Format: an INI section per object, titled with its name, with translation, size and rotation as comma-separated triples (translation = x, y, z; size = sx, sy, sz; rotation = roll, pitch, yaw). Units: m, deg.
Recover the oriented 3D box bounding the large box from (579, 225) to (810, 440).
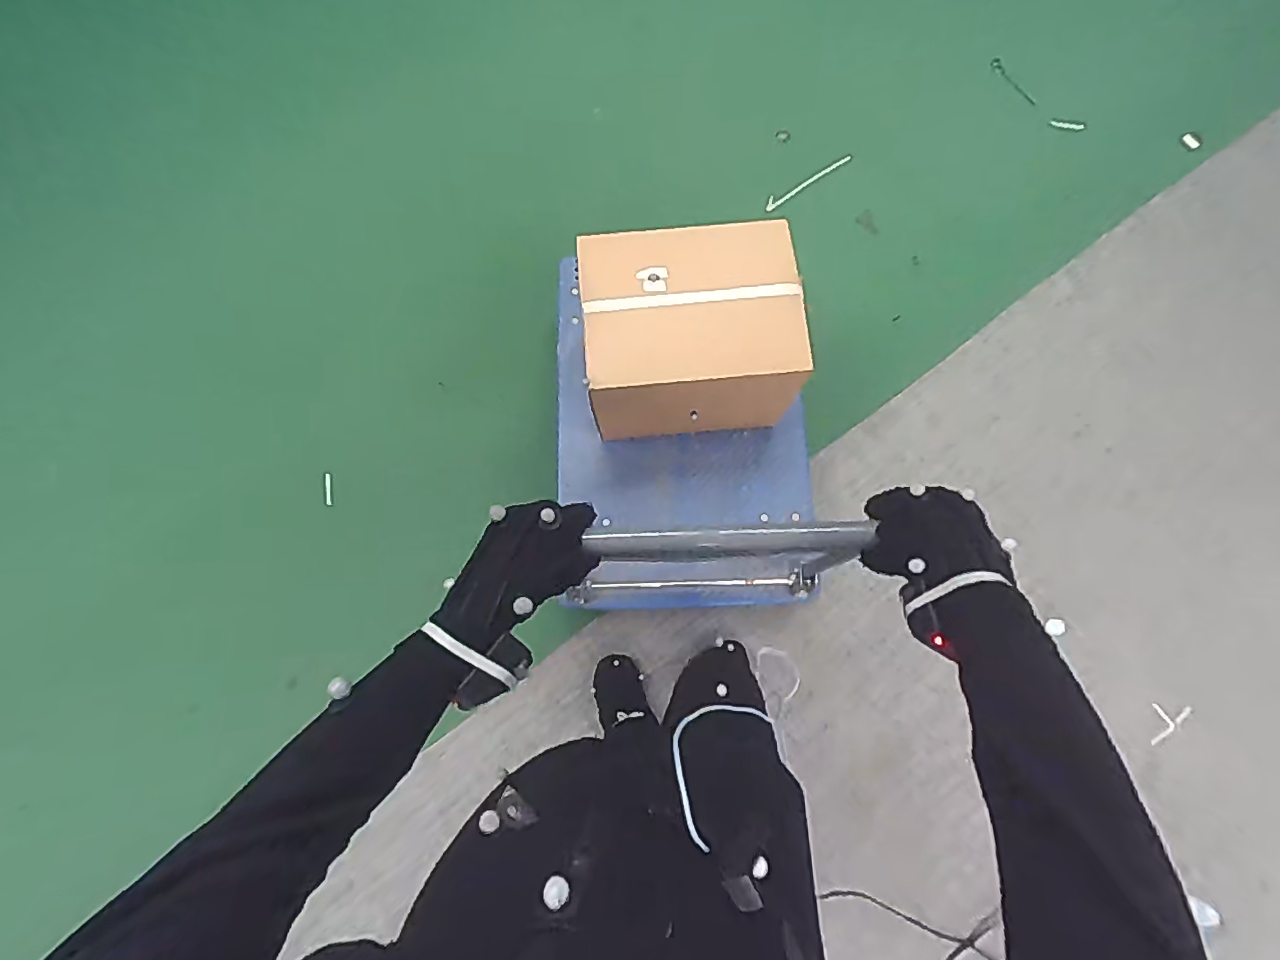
[large box]
translation = 0.100, -0.290, 1.151
size = 0.408, 0.320, 0.320
rotation = -6, 76, 0
